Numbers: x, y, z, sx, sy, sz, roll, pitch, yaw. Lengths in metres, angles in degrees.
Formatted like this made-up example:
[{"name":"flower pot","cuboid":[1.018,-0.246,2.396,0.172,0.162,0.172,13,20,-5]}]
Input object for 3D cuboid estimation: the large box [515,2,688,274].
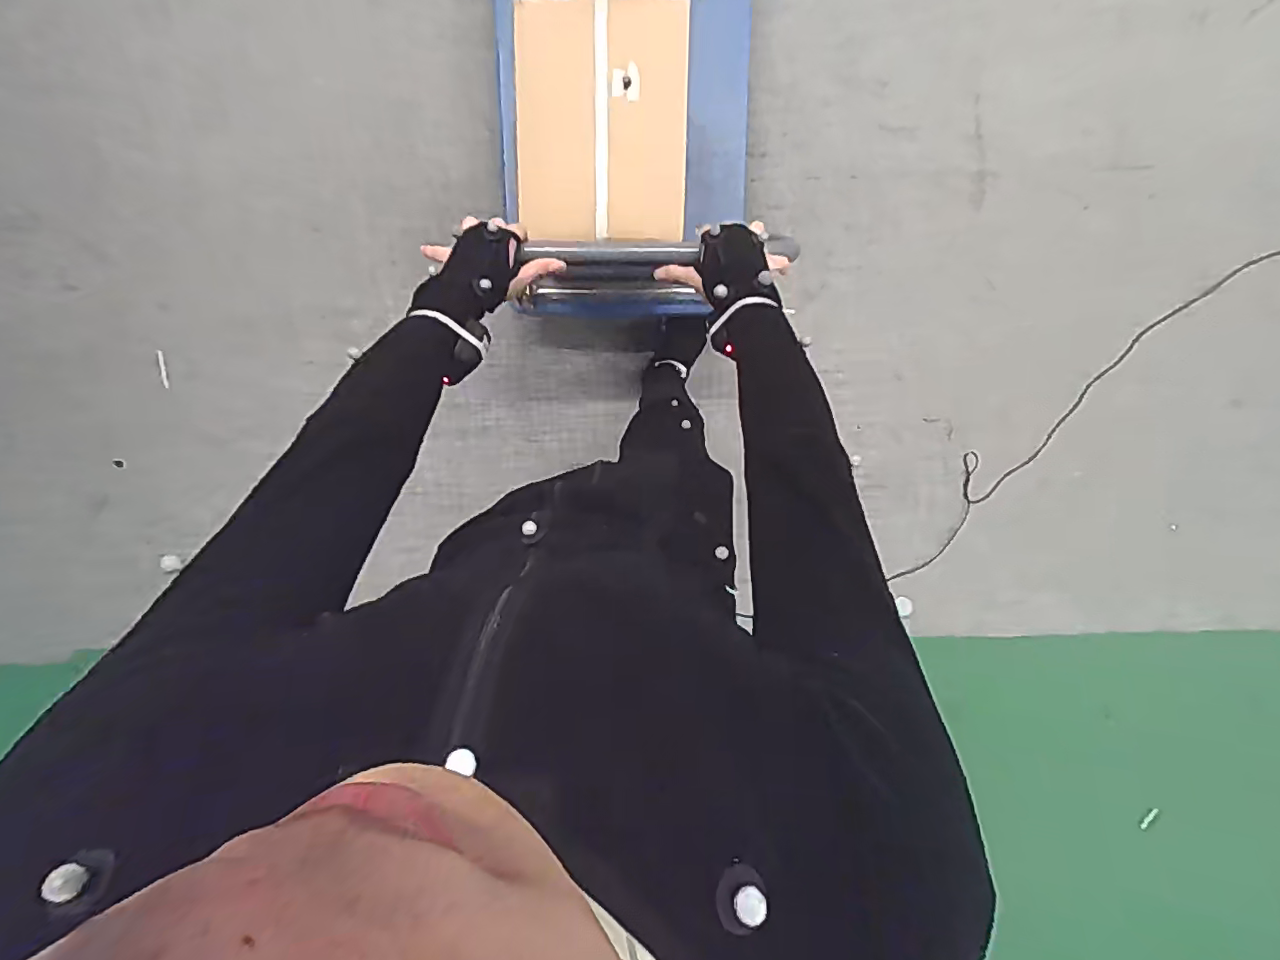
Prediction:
[{"name":"large box","cuboid":[-0.066,-0.673,1.137,0.320,0.320,0.408,0,100,0]}]
